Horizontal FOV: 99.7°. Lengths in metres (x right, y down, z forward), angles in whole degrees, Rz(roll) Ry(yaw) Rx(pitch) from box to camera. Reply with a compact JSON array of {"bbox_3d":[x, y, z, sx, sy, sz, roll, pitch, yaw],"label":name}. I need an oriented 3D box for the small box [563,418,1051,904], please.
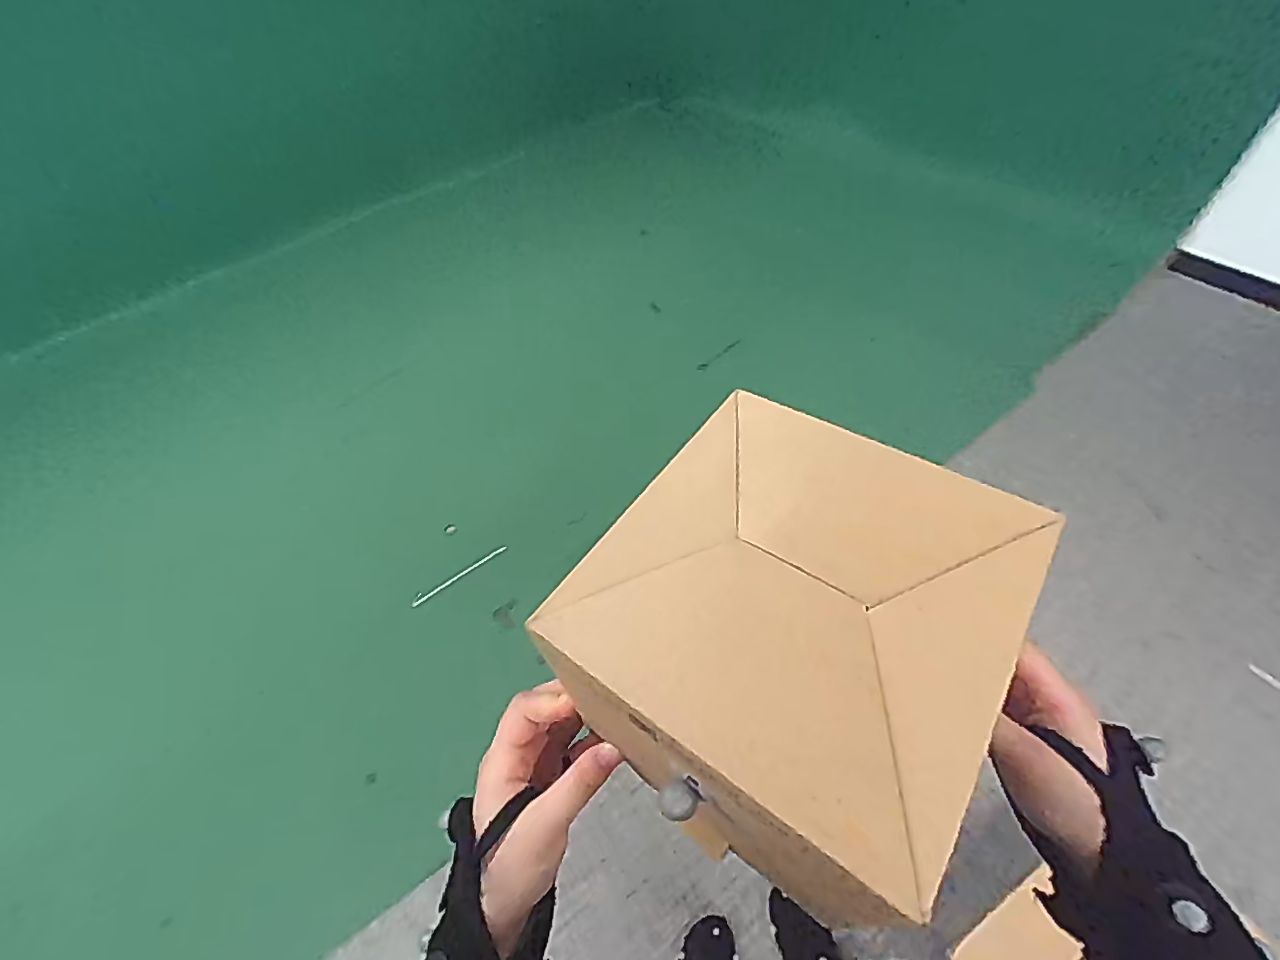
[{"bbox_3d":[0.083,0.087,0.296,0.168,0.176,0.179,27,58,26],"label":"small box"}]
